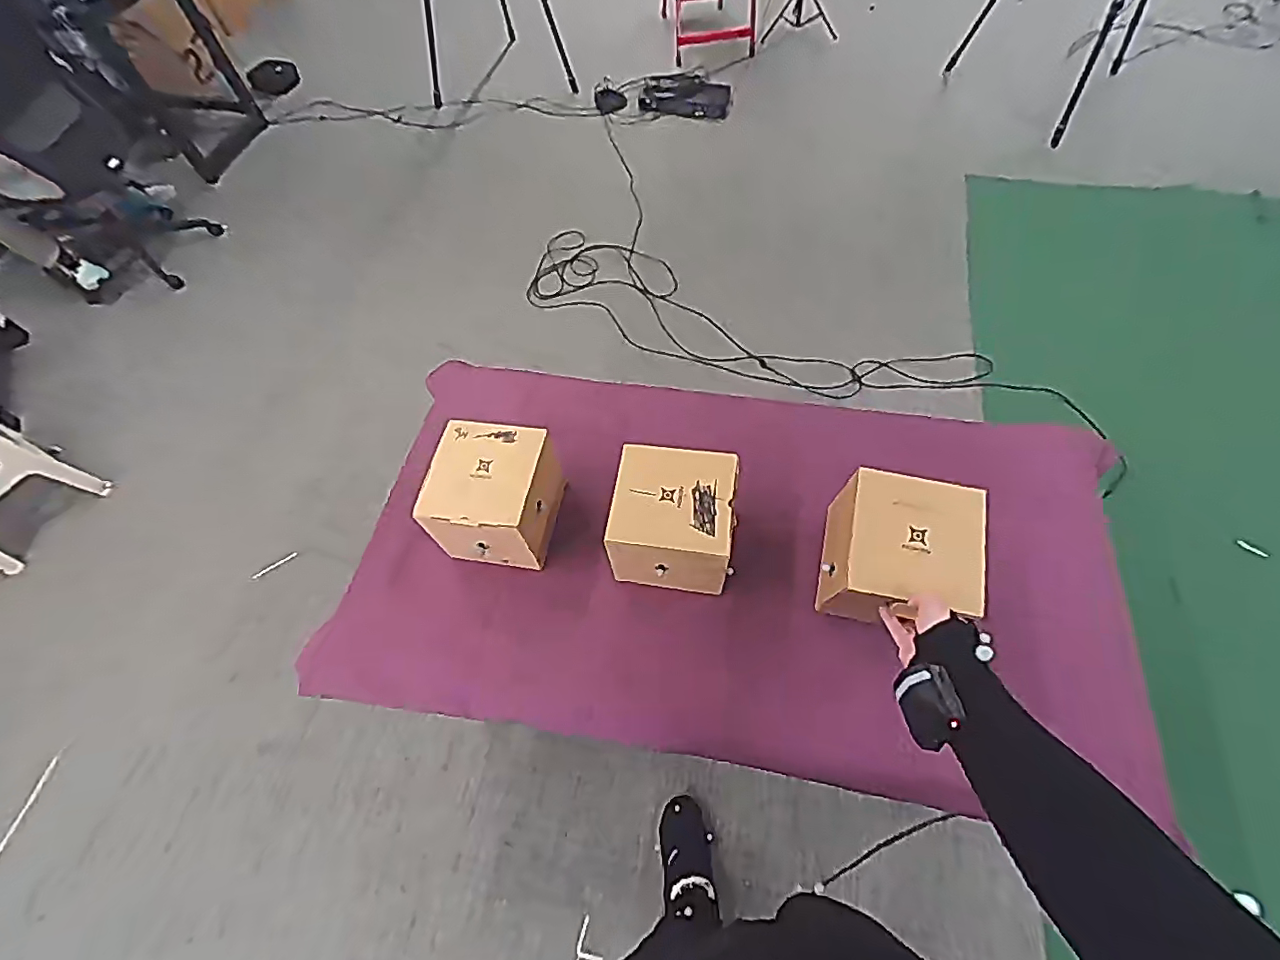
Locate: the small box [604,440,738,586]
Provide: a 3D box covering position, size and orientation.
[{"bbox_3d":[0.052,0.058,0.842,0.179,0.176,0.168,6,62,8],"label":"small box"}]

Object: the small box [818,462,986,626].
[{"bbox_3d":[0.360,0.099,0.768,0.168,0.176,0.179,12,69,9],"label":"small box"}]

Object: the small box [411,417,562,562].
[{"bbox_3d":[-0.235,0.021,0.882,0.168,0.176,0.179,7,62,7],"label":"small box"}]
